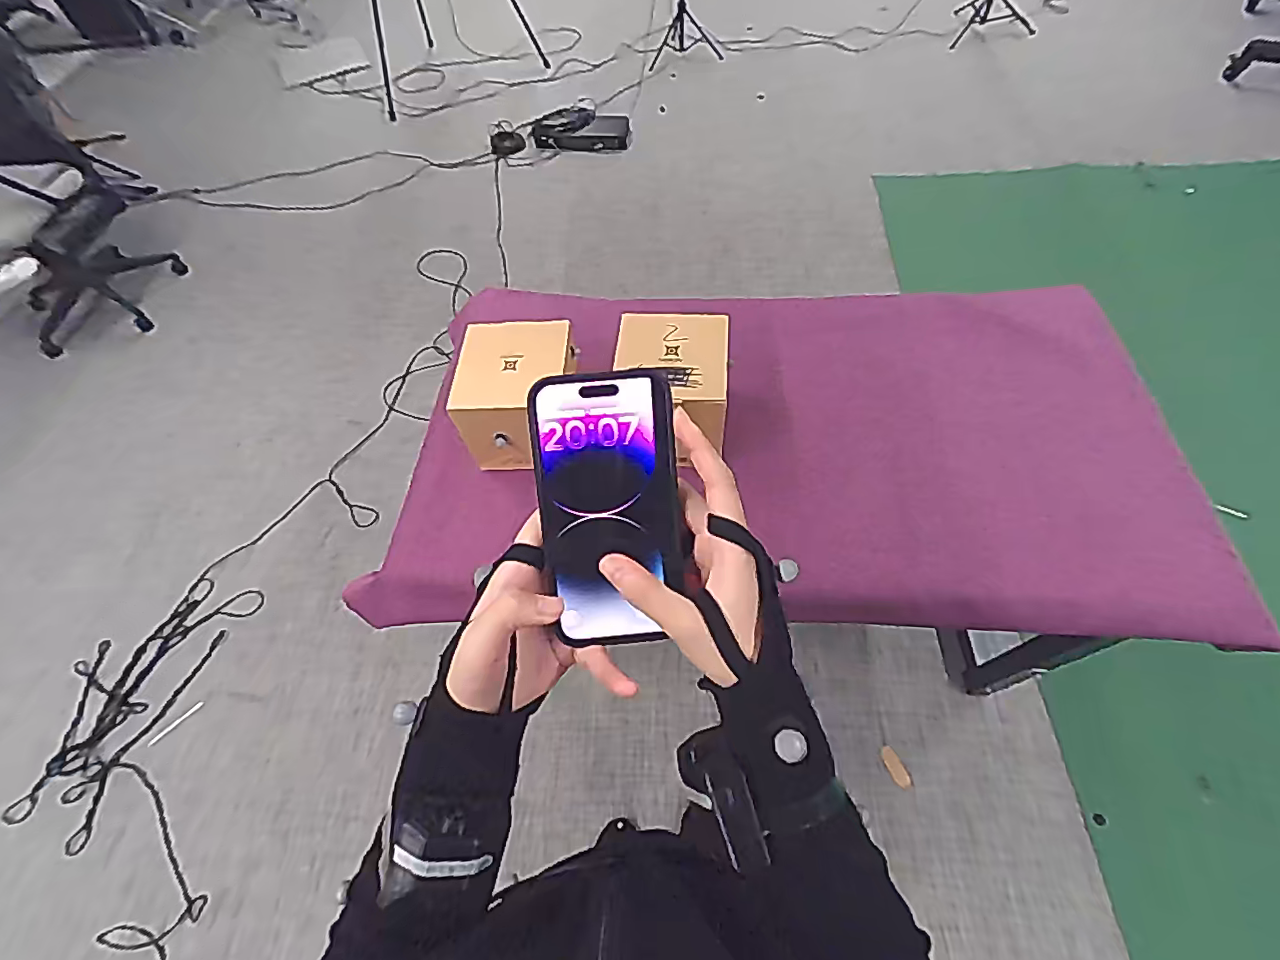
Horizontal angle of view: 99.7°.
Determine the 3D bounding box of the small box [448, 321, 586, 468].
[{"bbox_3d":[-0.185,-0.129,0.871,0.168,0.176,0.179,-2,57,4],"label":"small box"}]
